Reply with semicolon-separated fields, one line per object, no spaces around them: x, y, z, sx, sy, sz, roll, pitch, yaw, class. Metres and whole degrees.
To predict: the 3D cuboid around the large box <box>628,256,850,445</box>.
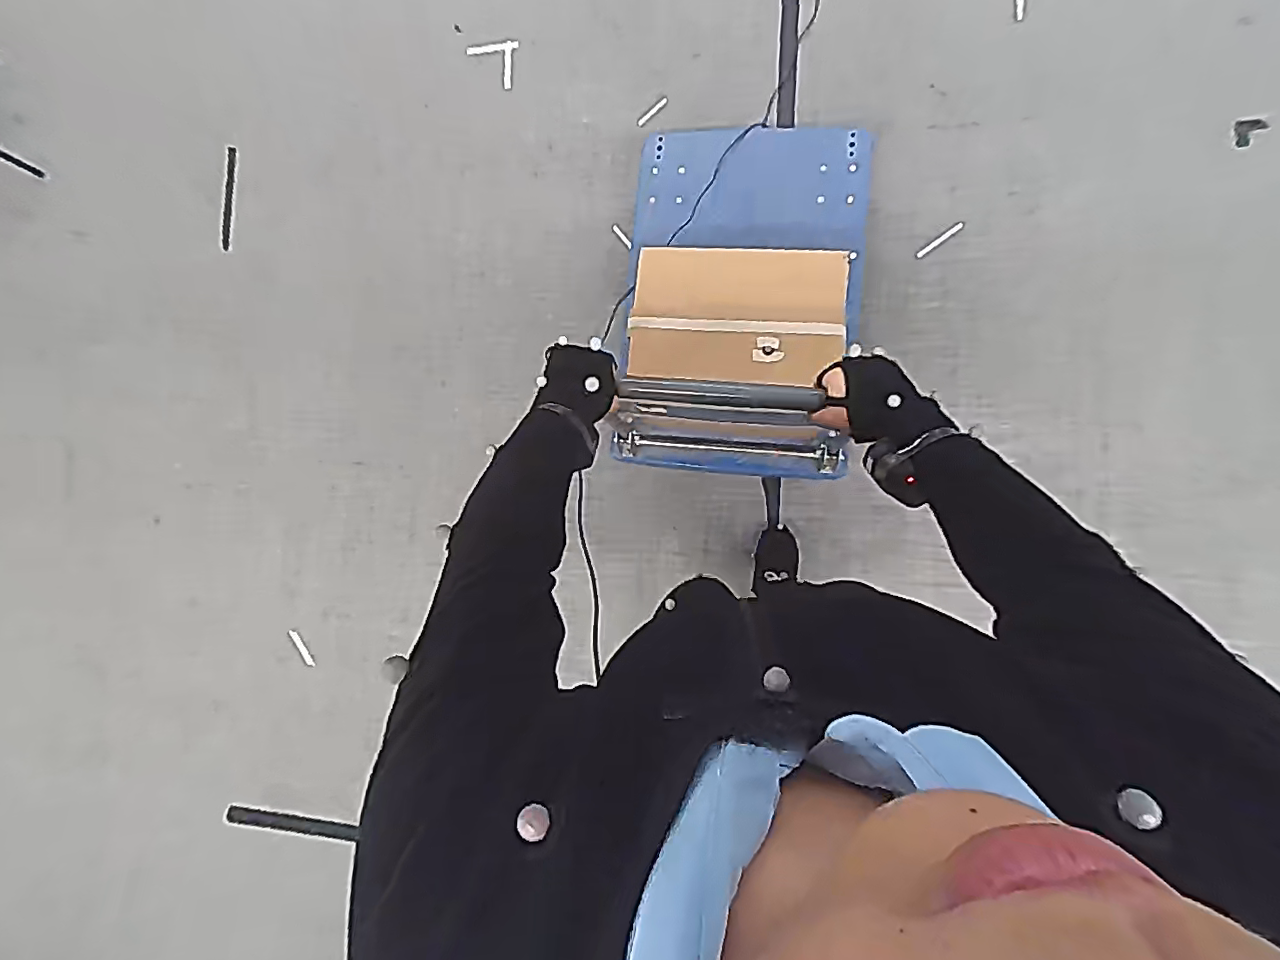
0.204;-0.263;1.177;0.408;0.320;0.320;5;86;9;large box
